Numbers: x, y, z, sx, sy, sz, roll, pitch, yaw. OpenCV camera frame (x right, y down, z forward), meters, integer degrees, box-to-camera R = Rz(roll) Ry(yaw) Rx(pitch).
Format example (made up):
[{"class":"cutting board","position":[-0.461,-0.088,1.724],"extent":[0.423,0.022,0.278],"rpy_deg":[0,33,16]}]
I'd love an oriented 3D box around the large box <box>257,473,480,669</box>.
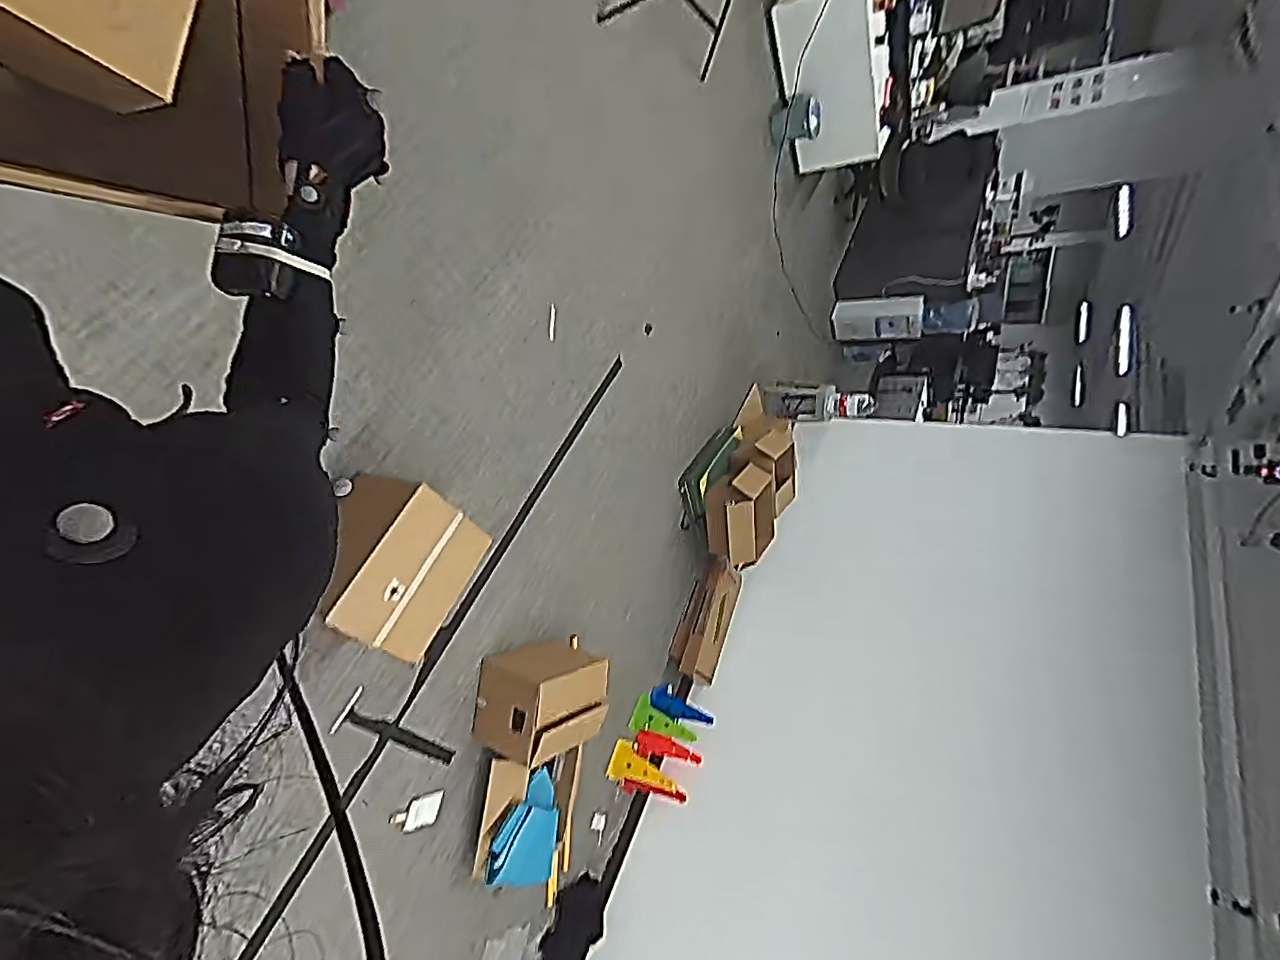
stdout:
[{"class":"large box","position":[-0.735,0.241,1.505],"extent":[0.408,0.320,0.320],"rpy_deg":[-63,142,-25]}]
